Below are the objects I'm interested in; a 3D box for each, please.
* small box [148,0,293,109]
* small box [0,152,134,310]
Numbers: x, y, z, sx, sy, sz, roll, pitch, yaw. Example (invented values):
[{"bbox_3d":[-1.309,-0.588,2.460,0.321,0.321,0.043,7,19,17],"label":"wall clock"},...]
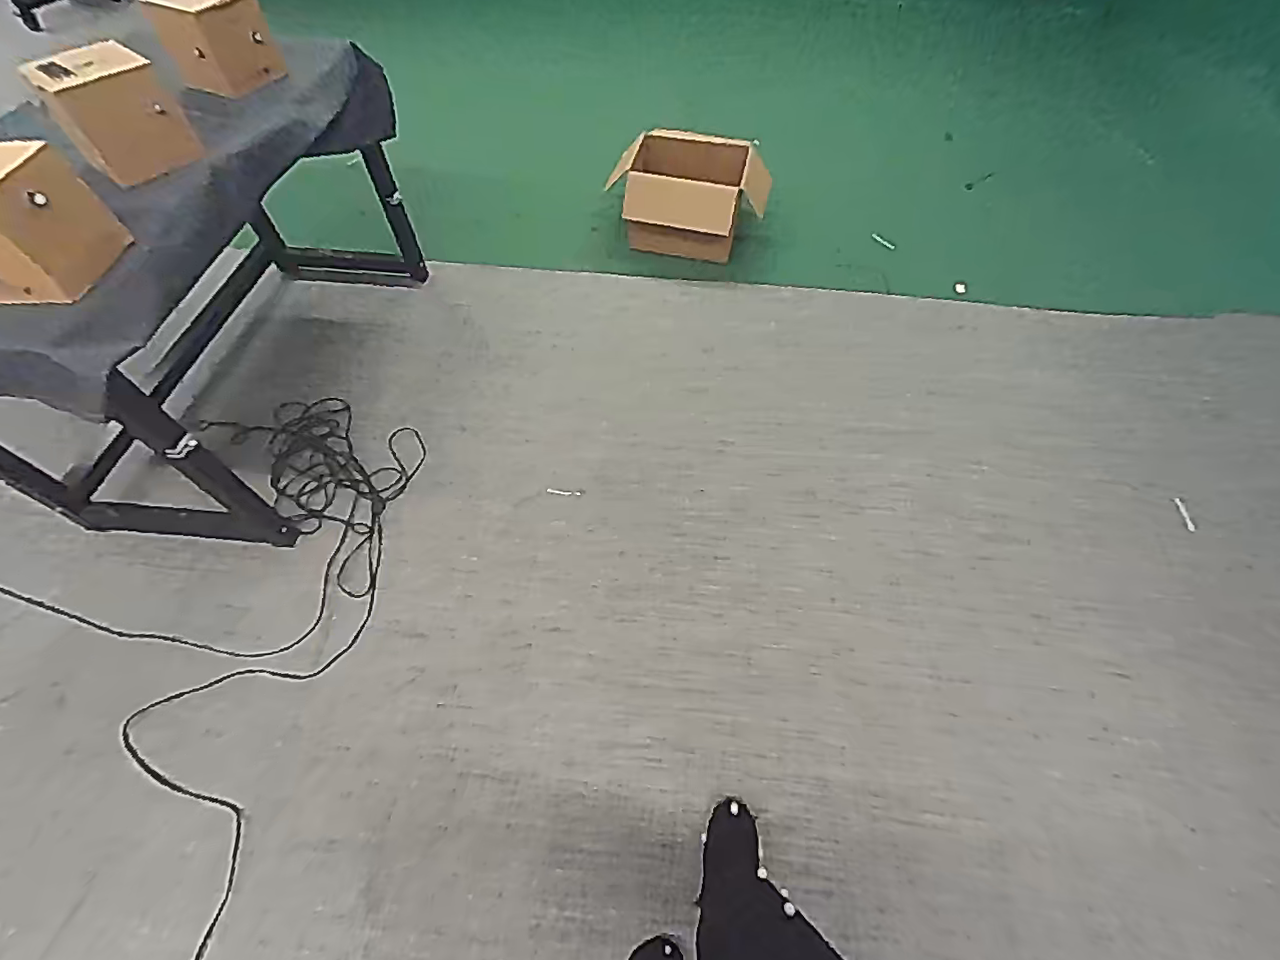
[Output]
[{"bbox_3d":[-0.983,-1.015,1.286,0.179,0.176,0.168,20,57,14],"label":"small box"},{"bbox_3d":[-0.983,-0.397,0.867,0.168,0.176,0.179,1,56,3],"label":"small box"}]
